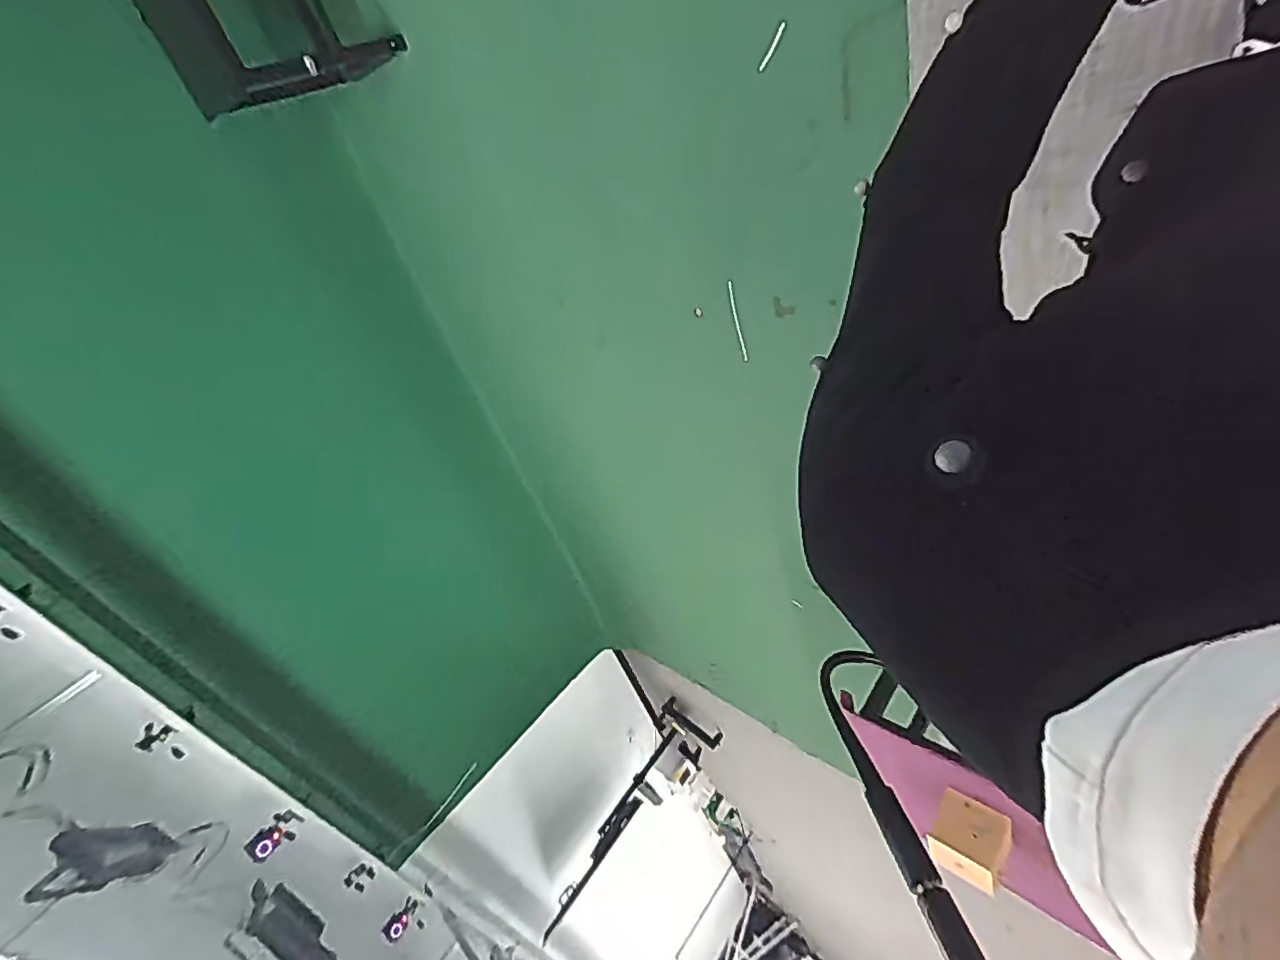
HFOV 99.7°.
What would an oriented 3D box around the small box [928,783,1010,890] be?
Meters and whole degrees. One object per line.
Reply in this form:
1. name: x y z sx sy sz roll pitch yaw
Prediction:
1. small box: 0.965 1.035 1.582 0.168 0.176 0.179 12 137 45
